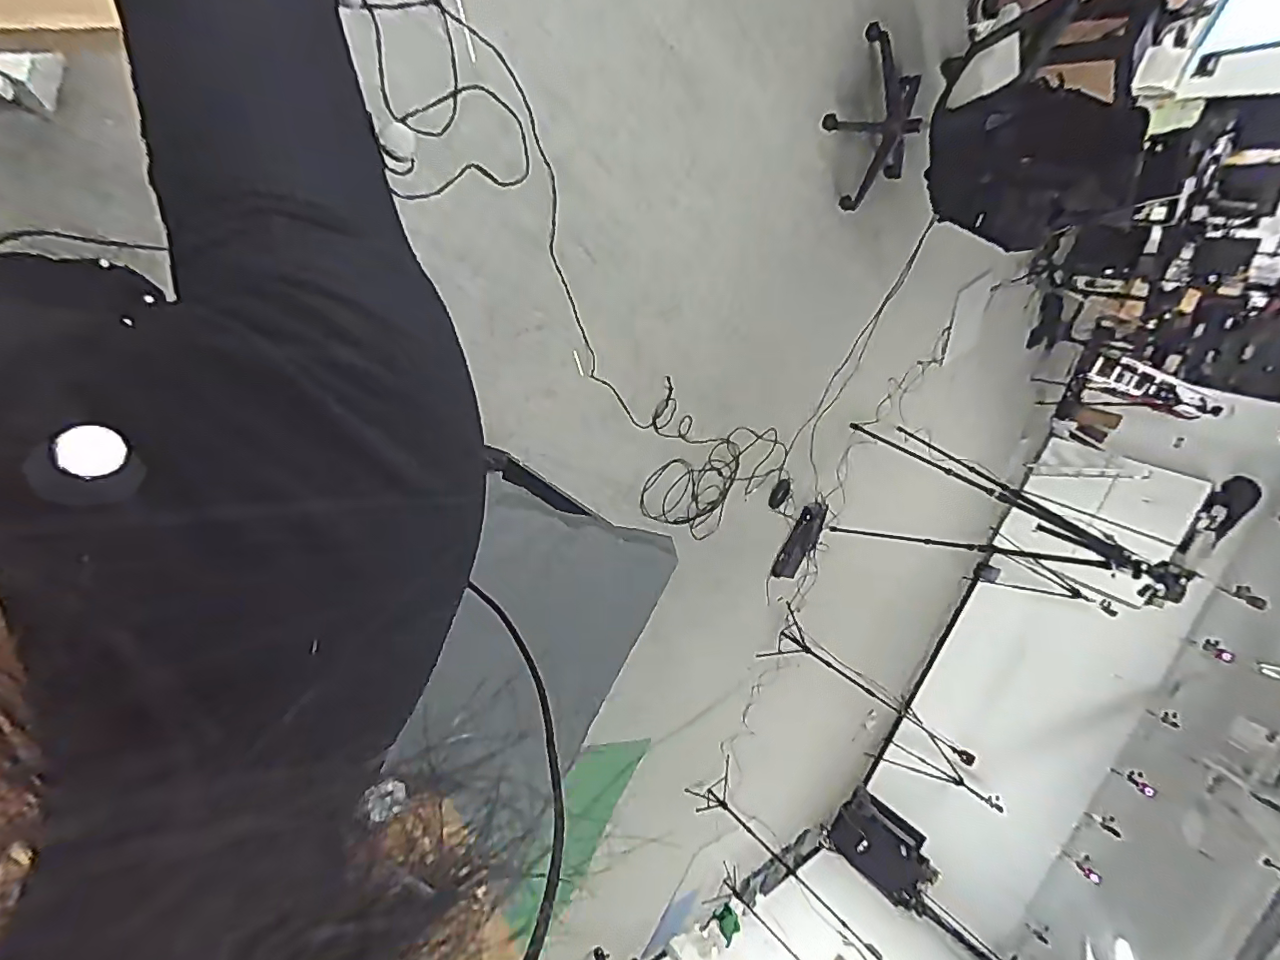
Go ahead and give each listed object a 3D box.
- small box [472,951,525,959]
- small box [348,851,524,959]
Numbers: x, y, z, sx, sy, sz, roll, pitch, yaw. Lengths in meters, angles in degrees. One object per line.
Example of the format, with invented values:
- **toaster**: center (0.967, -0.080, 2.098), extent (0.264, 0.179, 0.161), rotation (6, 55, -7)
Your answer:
- **small box**: center (-0.211, 0.795, 0.740), extent (0.179, 0.176, 0.168), rotation (-44, 139, -18)
- **small box**: center (-0.321, 0.734, 0.842), extent (0.179, 0.176, 0.168), rotation (-43, 138, -20)
